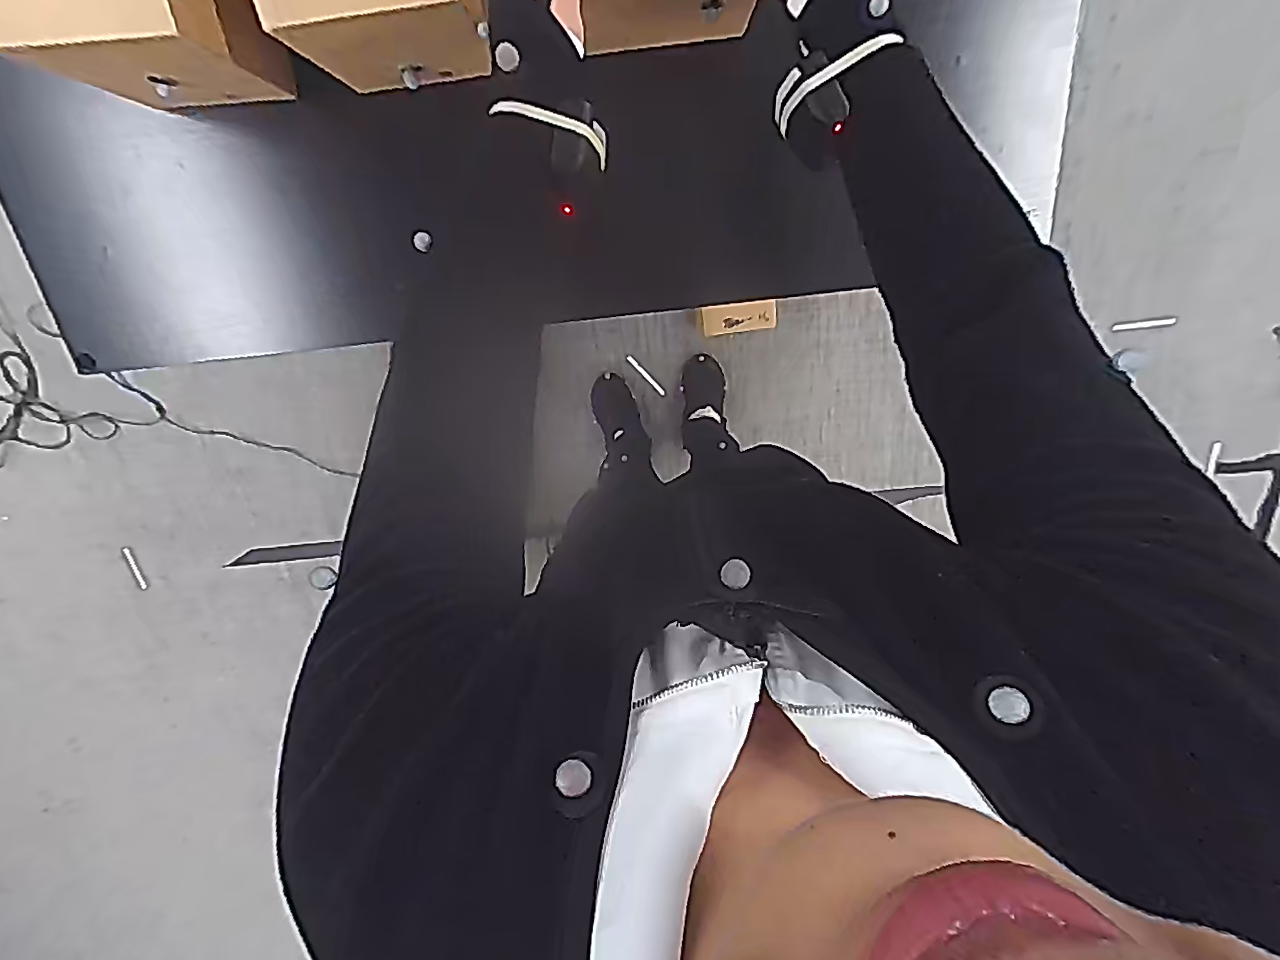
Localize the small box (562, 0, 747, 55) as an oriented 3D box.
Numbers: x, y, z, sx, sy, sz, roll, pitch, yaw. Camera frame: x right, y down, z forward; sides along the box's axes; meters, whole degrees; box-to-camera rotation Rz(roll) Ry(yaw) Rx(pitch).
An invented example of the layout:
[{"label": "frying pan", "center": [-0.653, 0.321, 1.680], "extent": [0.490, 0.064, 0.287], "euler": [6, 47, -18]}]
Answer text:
[{"label": "small box", "center": [0.011, -0.508, 0.472], "extent": [0.179, 0.176, 0.168], "euler": [-6, 109, 3]}]

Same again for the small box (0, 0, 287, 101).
[{"label": "small box", "center": [-0.460, -0.463, 0.485], "extent": [0.168, 0.176, 0.179], "euler": [-4, 110, 0]}]

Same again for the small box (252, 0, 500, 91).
[{"label": "small box", "center": [-0.236, -0.482, 0.479], "extent": [0.168, 0.176, 0.179], "euler": [-6, 111, 2]}]

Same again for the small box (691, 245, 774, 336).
[{"label": "small box", "center": [0.212, -0.442, 1.270], "extent": [0.168, 0.176, 0.179], "euler": [-6, 110, 3]}]
